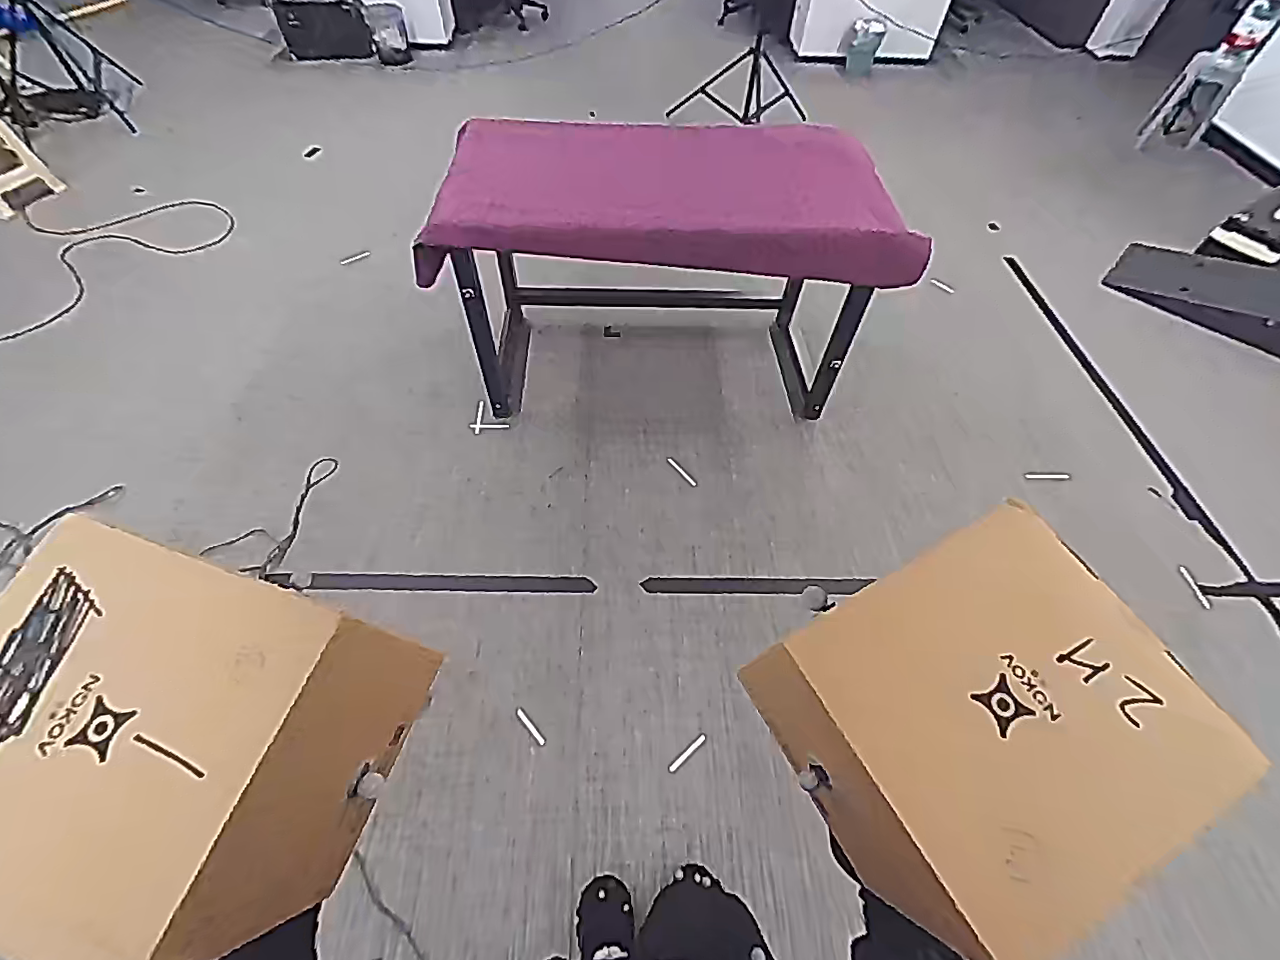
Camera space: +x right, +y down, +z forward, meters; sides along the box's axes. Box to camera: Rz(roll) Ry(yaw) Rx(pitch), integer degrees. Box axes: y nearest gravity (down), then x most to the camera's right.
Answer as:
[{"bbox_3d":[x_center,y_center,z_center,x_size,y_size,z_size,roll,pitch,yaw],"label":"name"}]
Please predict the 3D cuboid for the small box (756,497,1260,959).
[{"bbox_3d":[0.192,0.145,0.350,0.179,0.176,0.168,-27,68,-12],"label":"small box"}]

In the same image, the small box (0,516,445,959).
[{"bbox_3d":[-0.253,0.147,0.329,0.179,0.176,0.168,18,66,7],"label":"small box"}]
